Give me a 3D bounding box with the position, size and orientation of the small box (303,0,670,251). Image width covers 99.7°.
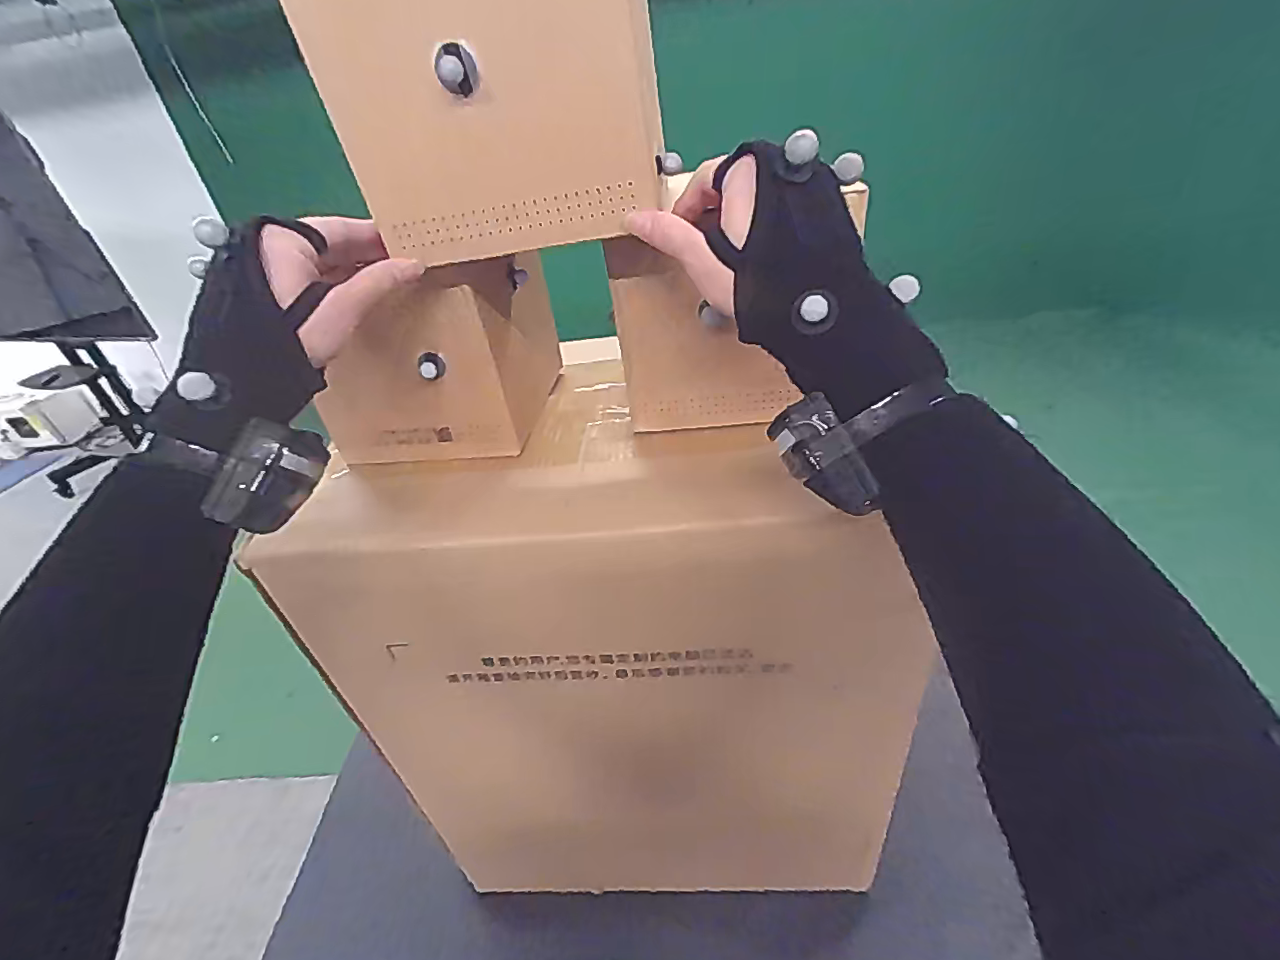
[{"bbox_3d":[-0.074,-0.263,0.345,0.179,0.176,0.168,-6,36,7],"label":"small box"}]

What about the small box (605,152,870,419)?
[{"bbox_3d":[0.077,-0.163,0.459,0.179,0.176,0.168,-6,35,6],"label":"small box"}]

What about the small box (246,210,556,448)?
[{"bbox_3d":[-0.180,-0.137,0.478,0.168,0.176,0.179,-1,35,6],"label":"small box"}]
